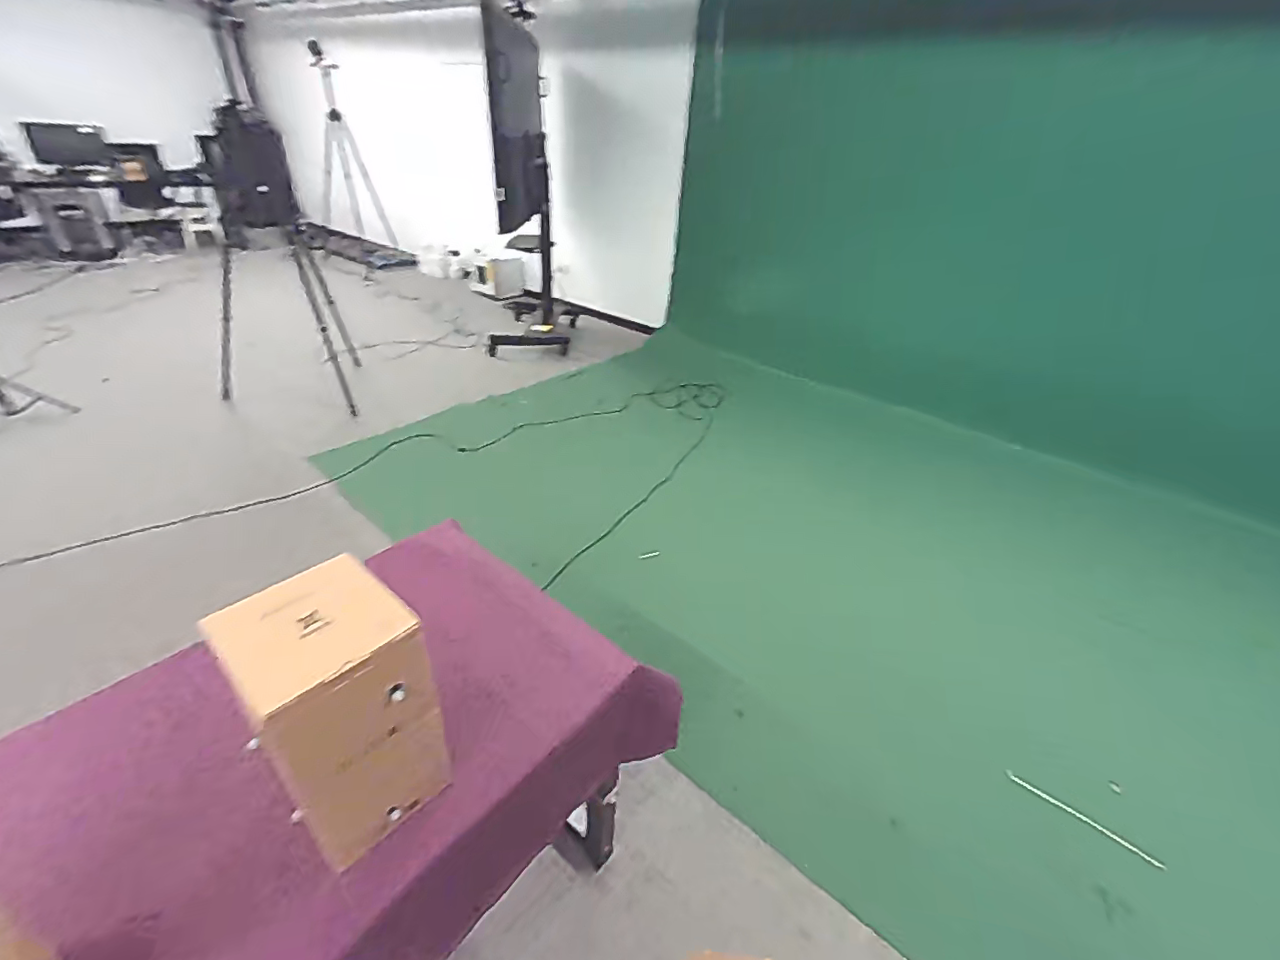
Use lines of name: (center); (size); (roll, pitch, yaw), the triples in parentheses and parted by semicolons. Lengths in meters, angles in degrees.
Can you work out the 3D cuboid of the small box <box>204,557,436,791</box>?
small box: (-0.367, 0.230, 0.644); (0.179, 0.176, 0.168); (27, 39, 31)
